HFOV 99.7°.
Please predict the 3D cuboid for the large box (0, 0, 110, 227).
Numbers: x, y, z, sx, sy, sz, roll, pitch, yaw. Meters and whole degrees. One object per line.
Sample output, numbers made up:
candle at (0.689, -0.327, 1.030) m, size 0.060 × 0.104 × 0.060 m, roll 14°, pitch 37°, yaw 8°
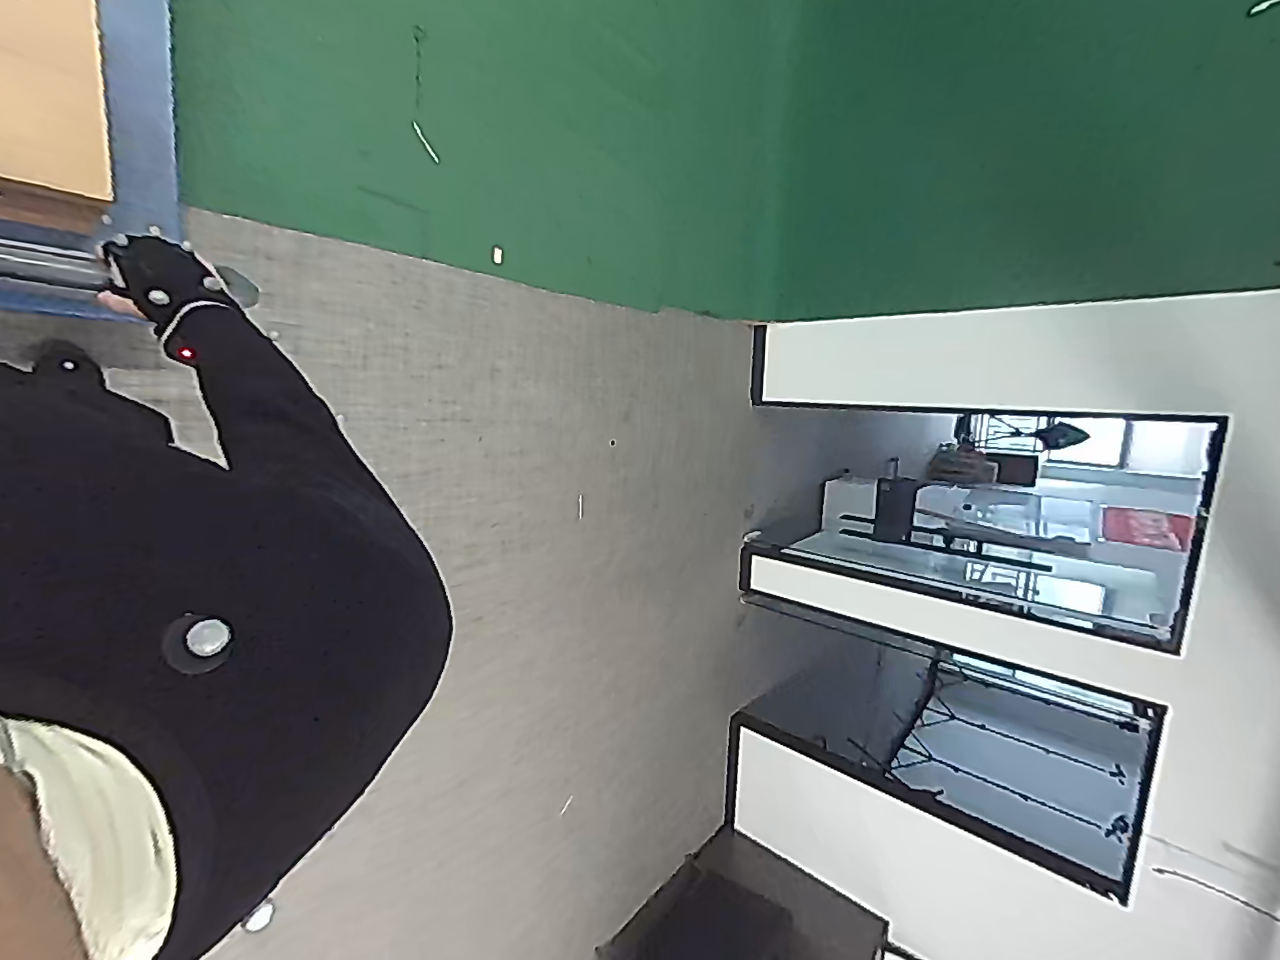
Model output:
large box at (-1.024, -0.637, 0.785) m, size 0.320 × 0.320 × 0.408 m, roll -8°, pitch 103°, yaw -49°
